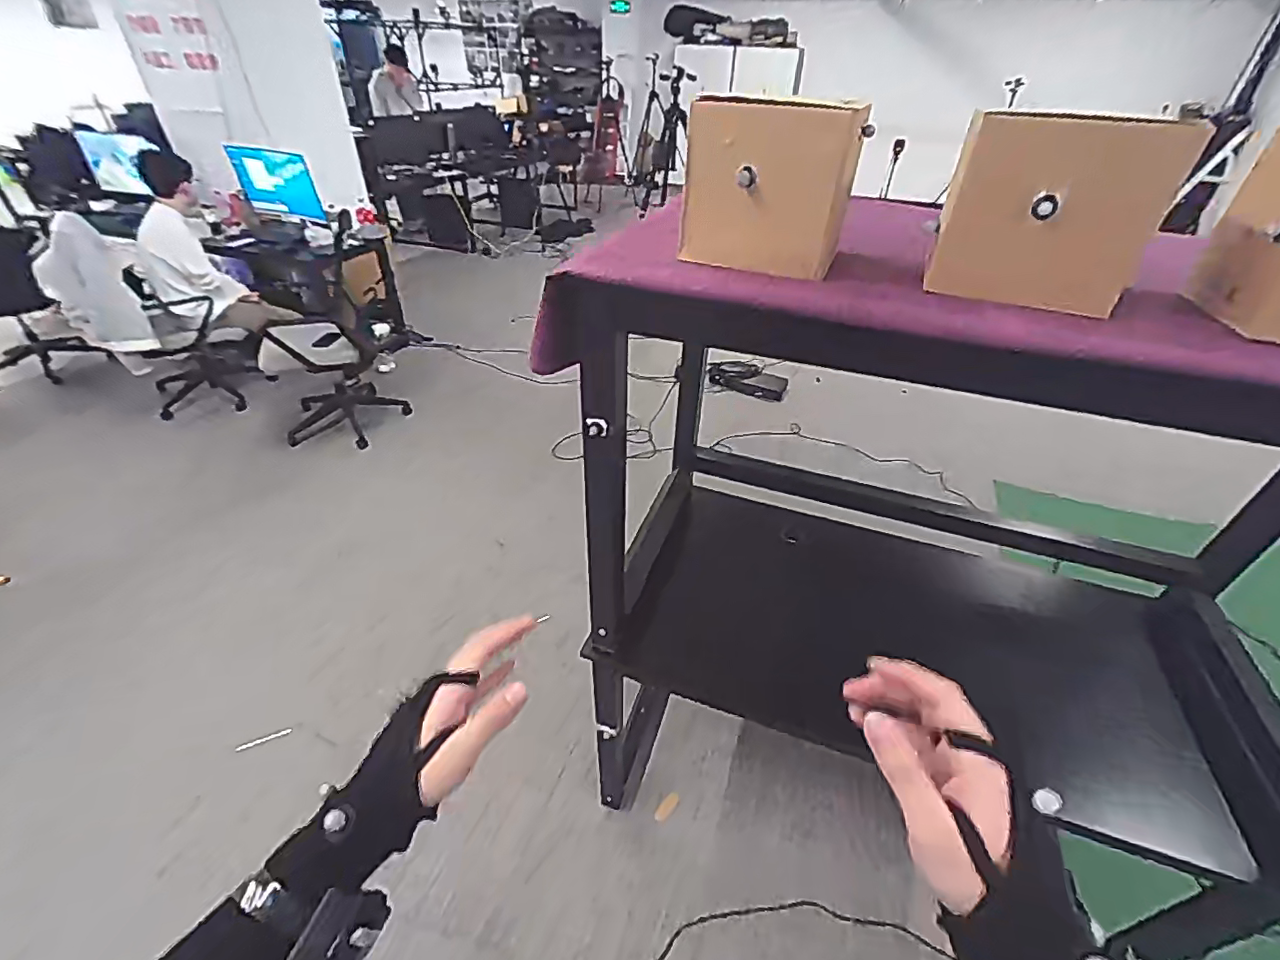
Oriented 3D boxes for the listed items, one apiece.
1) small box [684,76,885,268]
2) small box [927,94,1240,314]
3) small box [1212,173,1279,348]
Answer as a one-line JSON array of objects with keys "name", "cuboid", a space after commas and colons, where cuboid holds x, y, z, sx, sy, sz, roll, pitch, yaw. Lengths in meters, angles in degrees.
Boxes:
[{"name": "small box", "cuboid": [0.160, -0.357, 0.624, 0.179, 0.176, 0.168, 18, 41, 17]}, {"name": "small box", "cuboid": [0.422, -0.284, 0.554, 0.179, 0.176, 0.168, 18, 40, 19]}, {"name": "small box", "cuboid": [0.674, -0.203, 0.475, 0.179, 0.176, 0.168, 17, 40, 16]}]
